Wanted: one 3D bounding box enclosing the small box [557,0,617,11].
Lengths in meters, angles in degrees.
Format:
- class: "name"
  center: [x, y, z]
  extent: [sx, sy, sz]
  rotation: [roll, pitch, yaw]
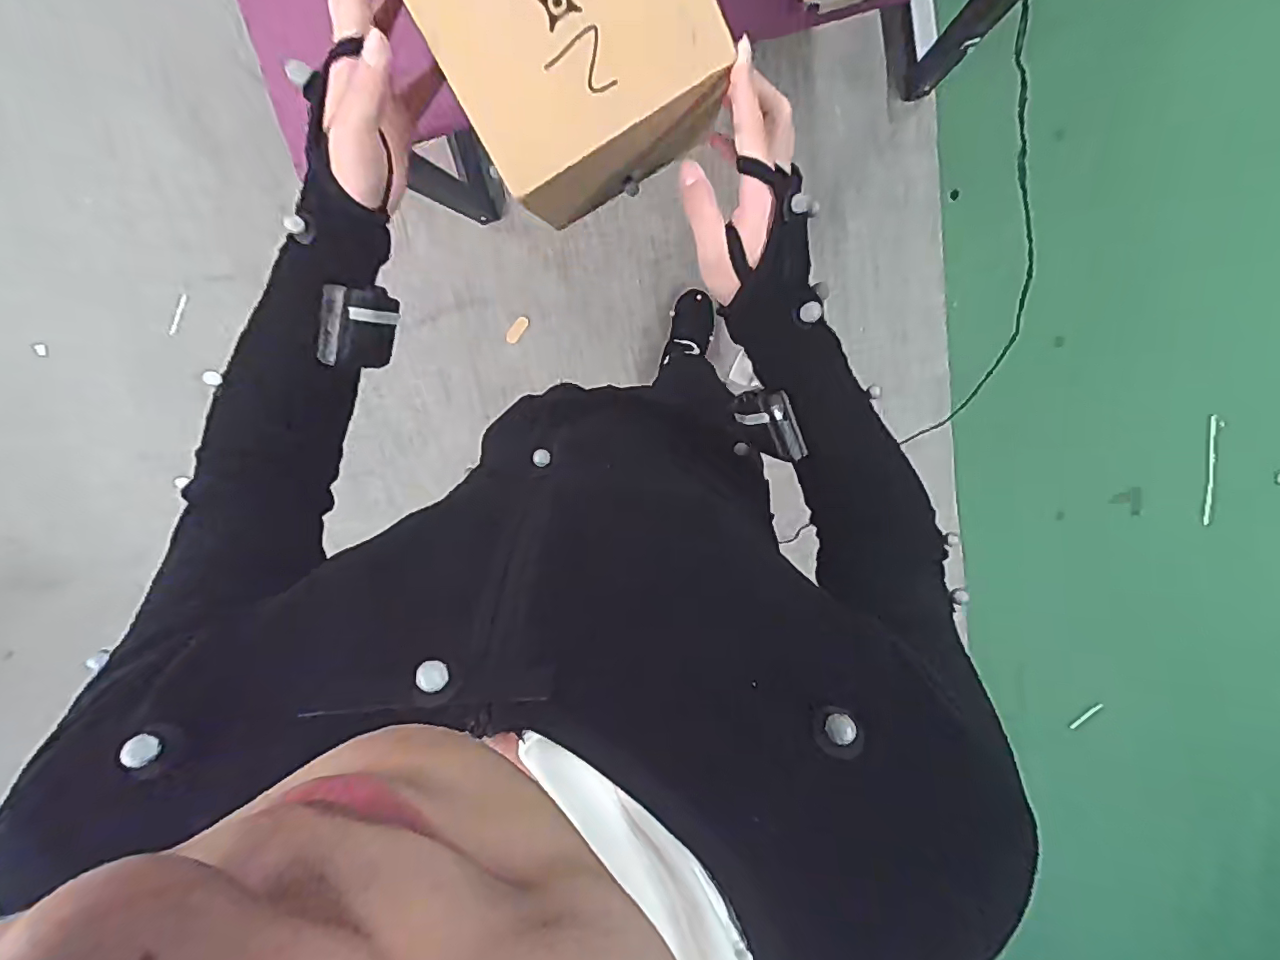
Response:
- class: "small box"
  center: [-0.049, -0.691, 0.623]
  extent: [0.168, 0.176, 0.179]
  rotation: [-10, 104, 8]
